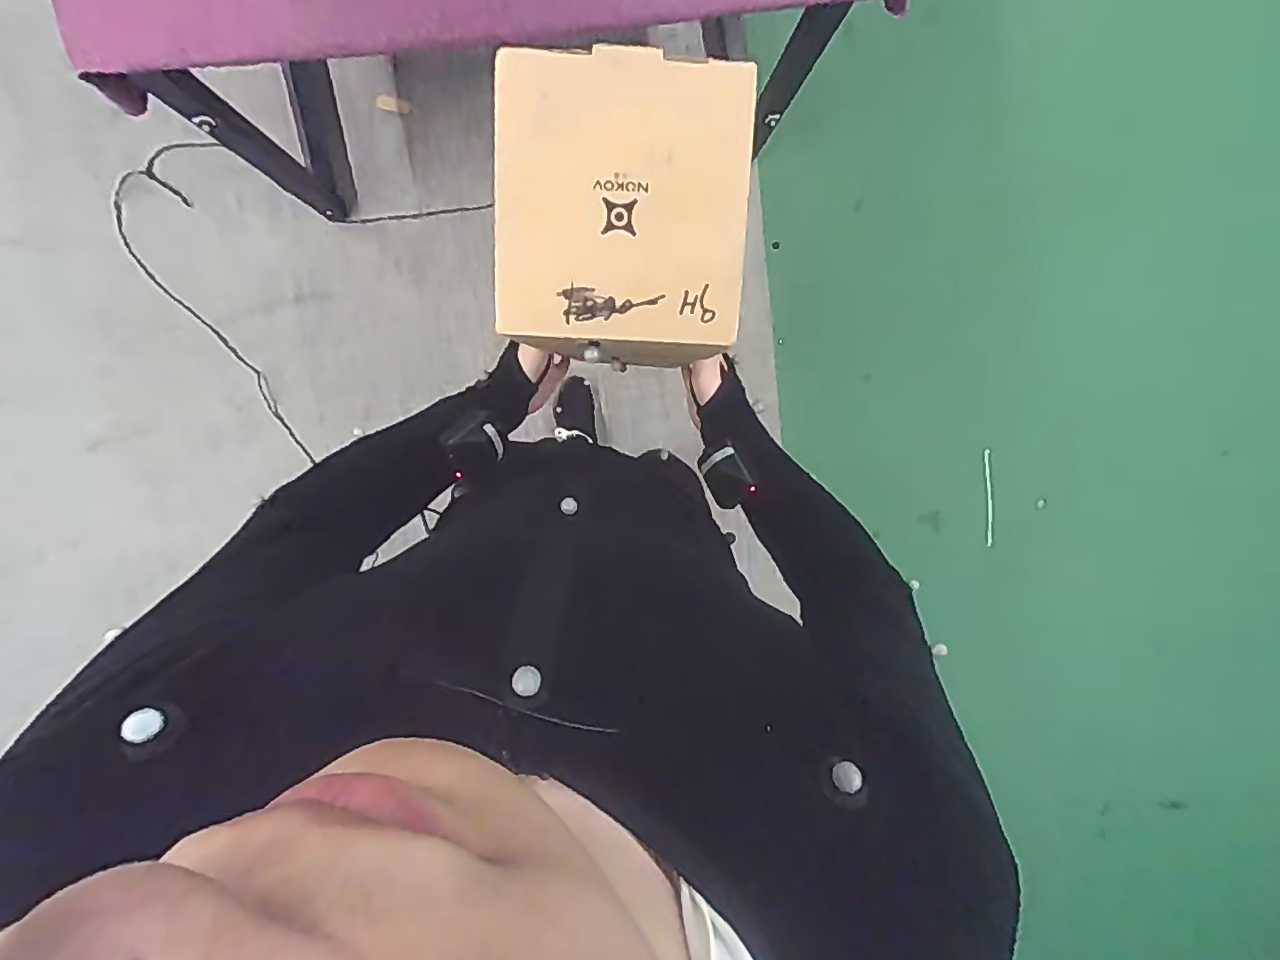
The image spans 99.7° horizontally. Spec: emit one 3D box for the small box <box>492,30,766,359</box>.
[{"bbox_3d":[-0.010,-0.193,0.419,0.168,0.176,0.179,3,99,-1],"label":"small box"}]
